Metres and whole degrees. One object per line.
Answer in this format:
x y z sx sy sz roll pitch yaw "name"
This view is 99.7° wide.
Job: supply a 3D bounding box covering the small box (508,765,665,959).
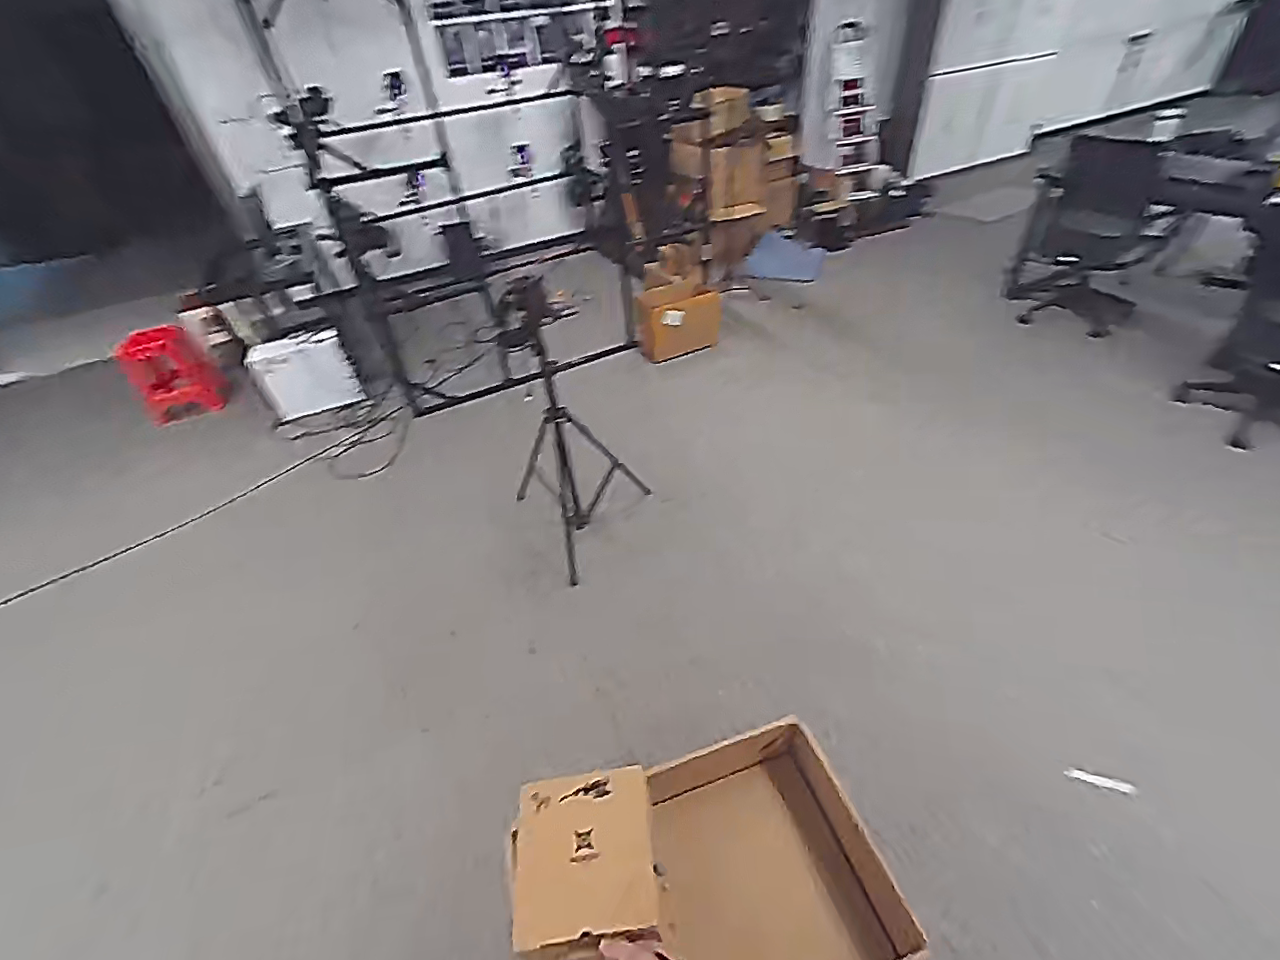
-0.064 0.505 0.704 0.168 0.176 0.179 -9 40 -1 "small box"
